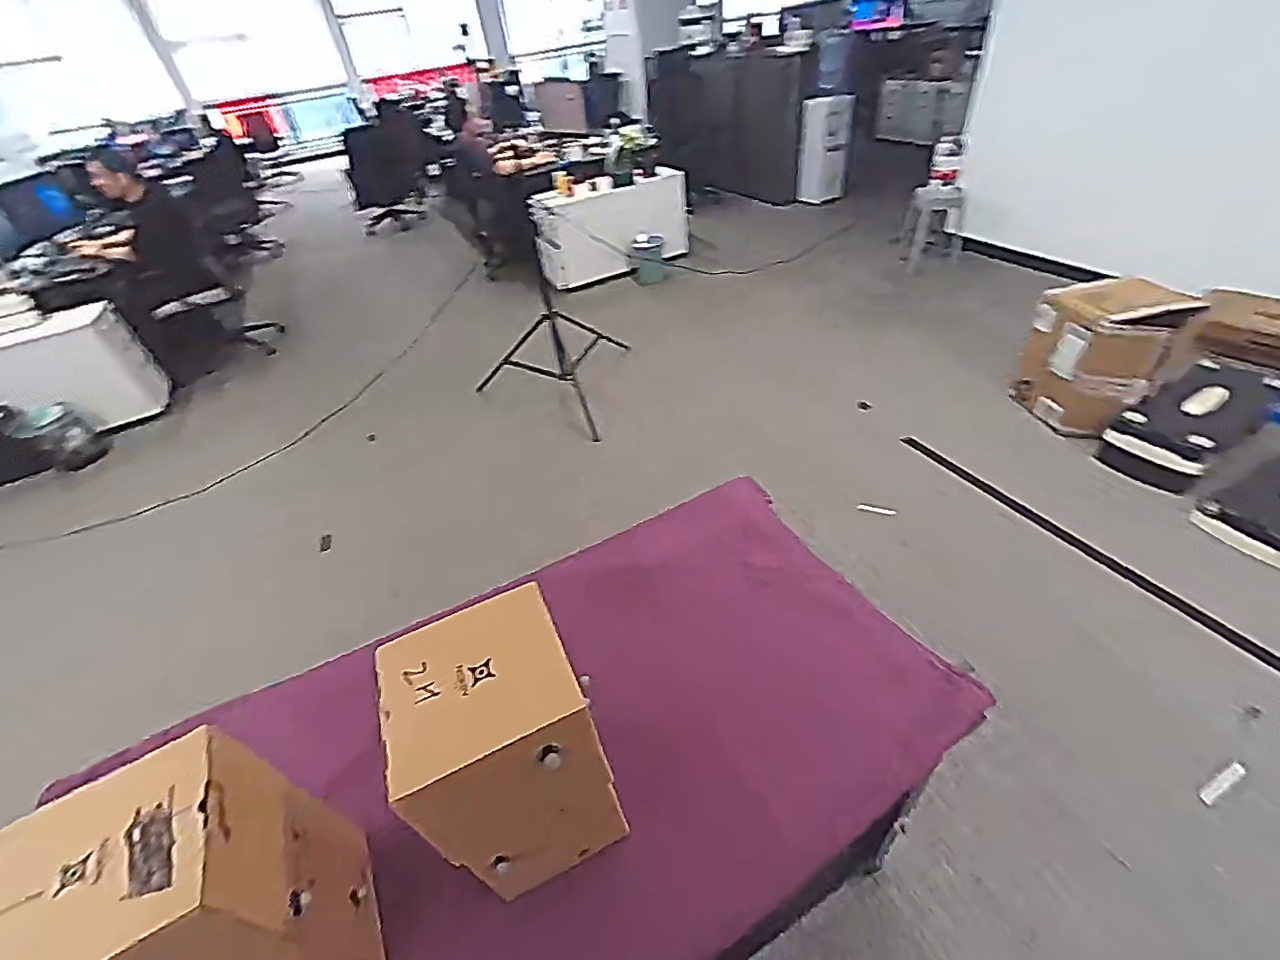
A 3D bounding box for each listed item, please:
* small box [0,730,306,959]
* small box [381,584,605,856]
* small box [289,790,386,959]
[{"bbox_3d":[-0.425,0.371,0.482,0.179,0.176,0.168,-26,43,-19],"label":"small box"},{"bbox_3d":[-0.146,0.249,0.570,0.179,0.176,0.168,-22,41,-15],"label":"small box"},{"bbox_3d":[-0.410,0.493,0.591,0.179,0.176,0.168,-25,43,-20],"label":"small box"}]
